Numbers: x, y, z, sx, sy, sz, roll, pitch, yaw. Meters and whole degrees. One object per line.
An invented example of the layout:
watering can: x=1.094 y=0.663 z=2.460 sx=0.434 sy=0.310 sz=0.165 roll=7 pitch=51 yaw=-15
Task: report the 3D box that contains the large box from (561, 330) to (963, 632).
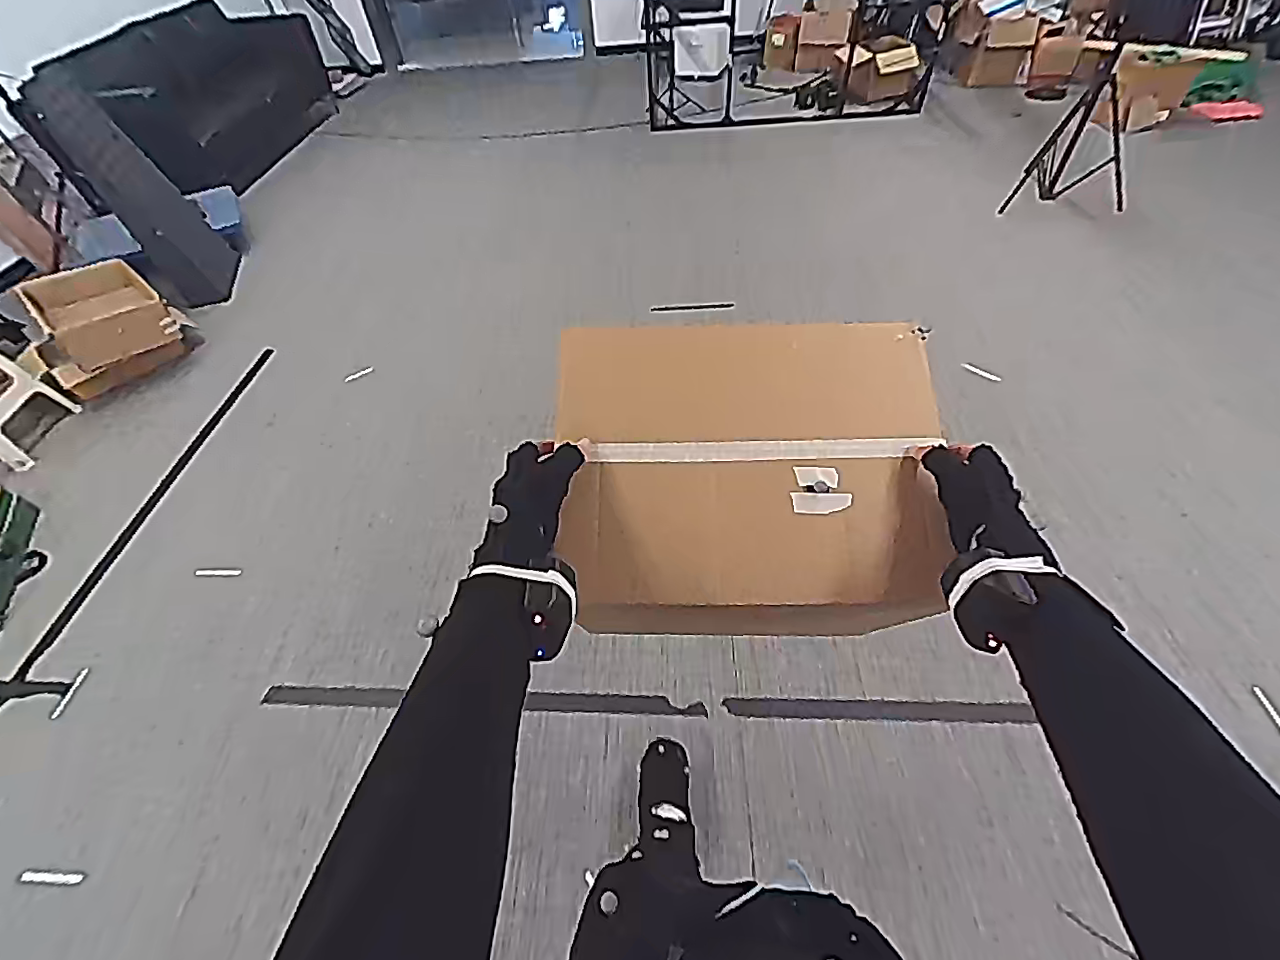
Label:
large box: x=0.119 y=0.025 z=0.721 sx=0.408 sy=0.320 sz=0.320 roll=-1 pitch=70 yaw=2
